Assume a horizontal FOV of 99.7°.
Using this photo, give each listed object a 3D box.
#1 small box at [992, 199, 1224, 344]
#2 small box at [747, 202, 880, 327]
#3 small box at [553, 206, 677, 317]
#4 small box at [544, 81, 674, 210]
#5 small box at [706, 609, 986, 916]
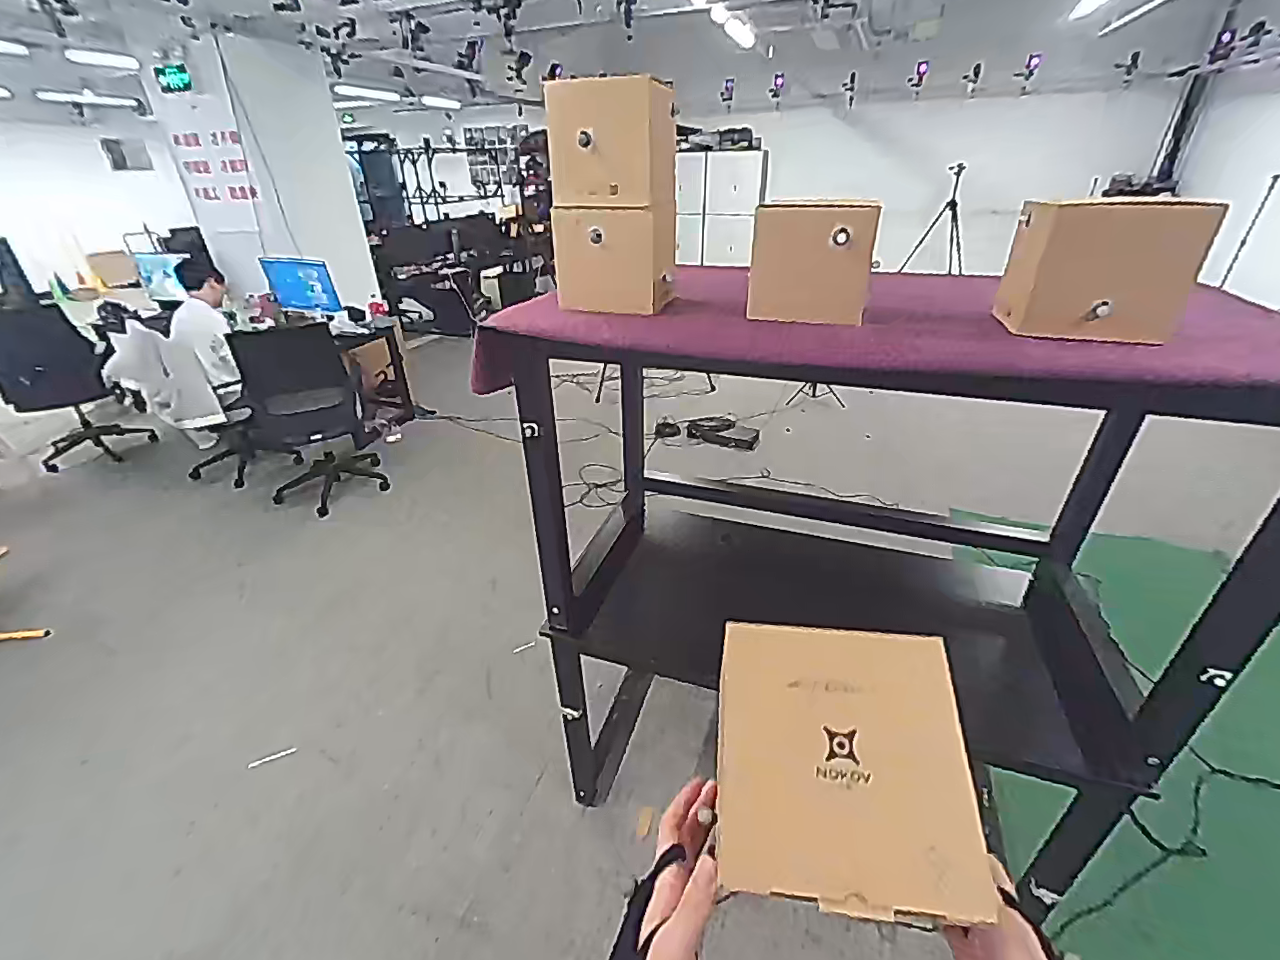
[{"bbox_3d":[0.627,-0.293,0.755,0.179,0.176,0.168,9,29,18],"label":"small box"},{"bbox_3d":[0.278,-0.350,0.874,0.179,0.176,0.168,9,30,19],"label":"small box"},{"bbox_3d":[-0.038,-0.393,0.966,0.179,0.176,0.168,8,31,15],"label":"small box"},{"bbox_3d":[-0.040,-0.536,0.890,0.168,0.176,0.179,7,30,14],"label":"small box"},{"bbox_3d":[0.142,0.224,0.438,0.168,0.176,0.179,3,55,8],"label":"small box"}]
